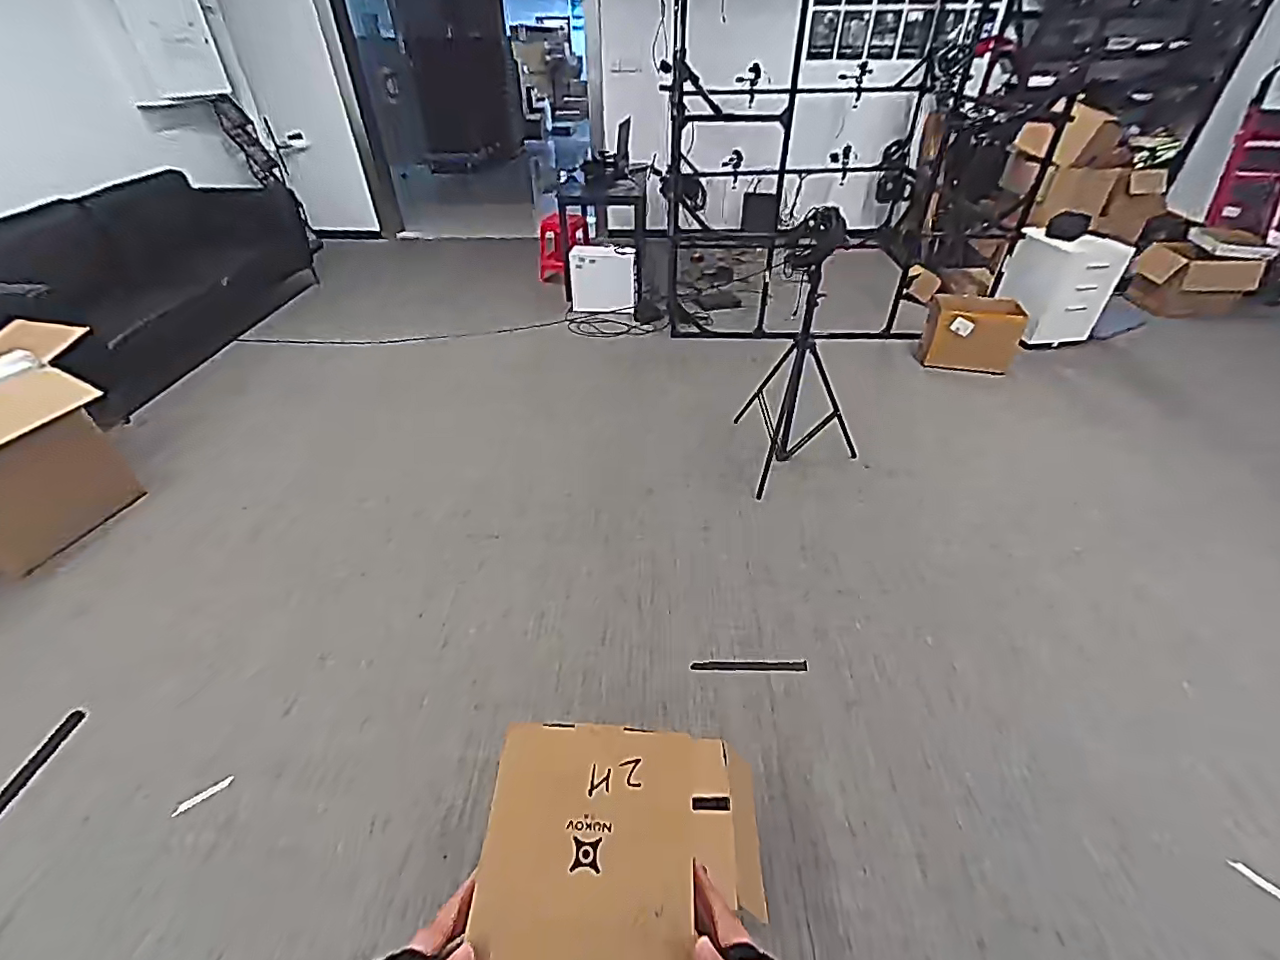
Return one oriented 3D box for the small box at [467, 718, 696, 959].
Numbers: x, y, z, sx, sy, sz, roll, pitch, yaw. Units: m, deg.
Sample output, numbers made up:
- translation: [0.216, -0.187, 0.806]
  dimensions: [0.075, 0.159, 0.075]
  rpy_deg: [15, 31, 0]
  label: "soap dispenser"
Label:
- translation: [-0.038, 0.341, 0.493]
  dimensions: [0.168, 0.176, 0.179]
  rpy_deg: [4, 47, 1]
  label: "small box"
